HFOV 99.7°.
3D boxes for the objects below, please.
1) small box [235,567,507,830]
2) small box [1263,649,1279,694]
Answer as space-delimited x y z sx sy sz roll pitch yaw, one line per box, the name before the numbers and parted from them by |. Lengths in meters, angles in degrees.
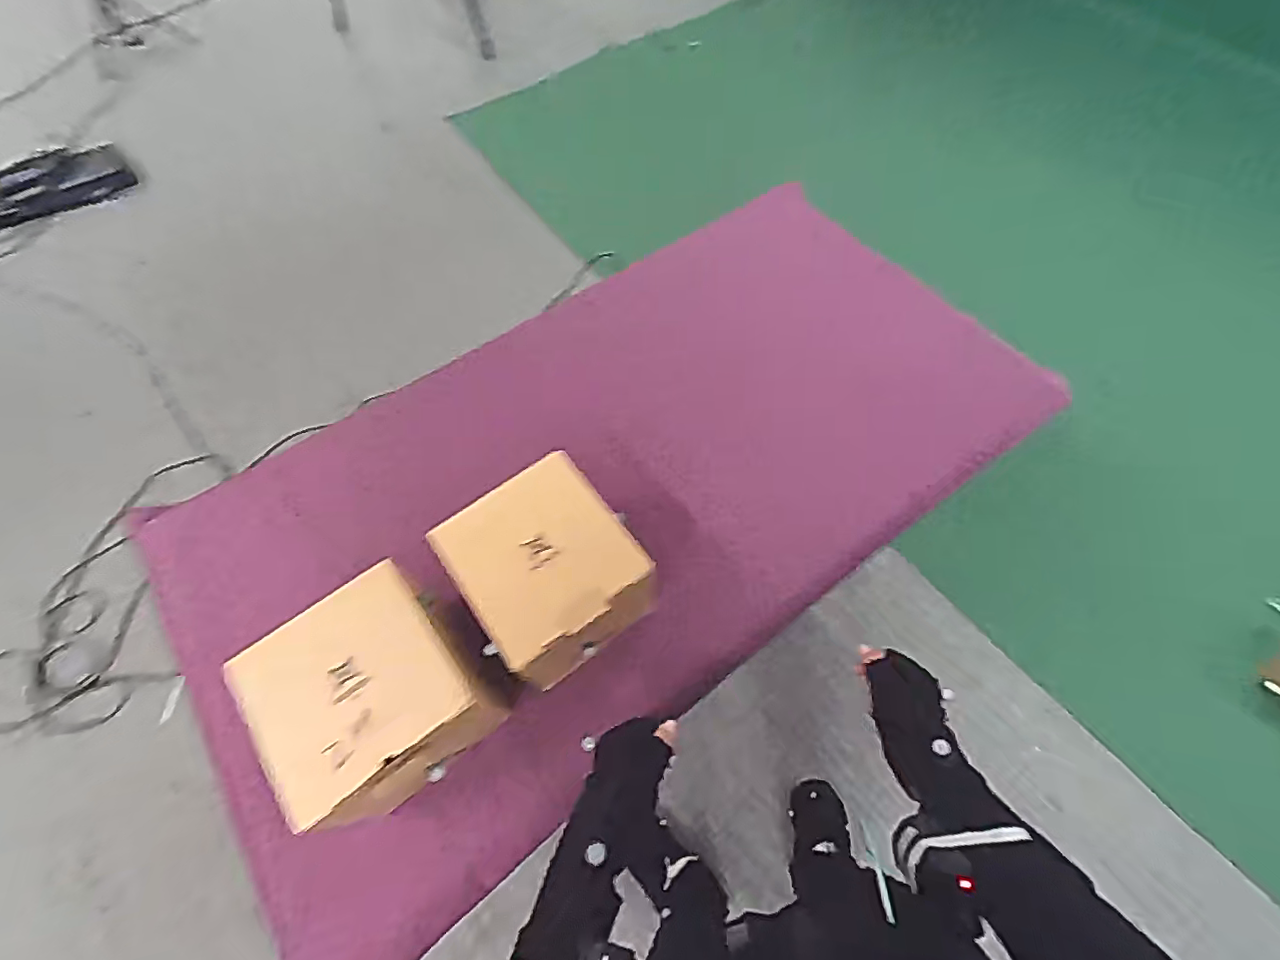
small box | -0.267 0.228 0.571 0.168 0.176 0.179 -36 68 -16
small box | 1.630 0.463 1.249 0.179 0.176 0.168 -35 68 -17
